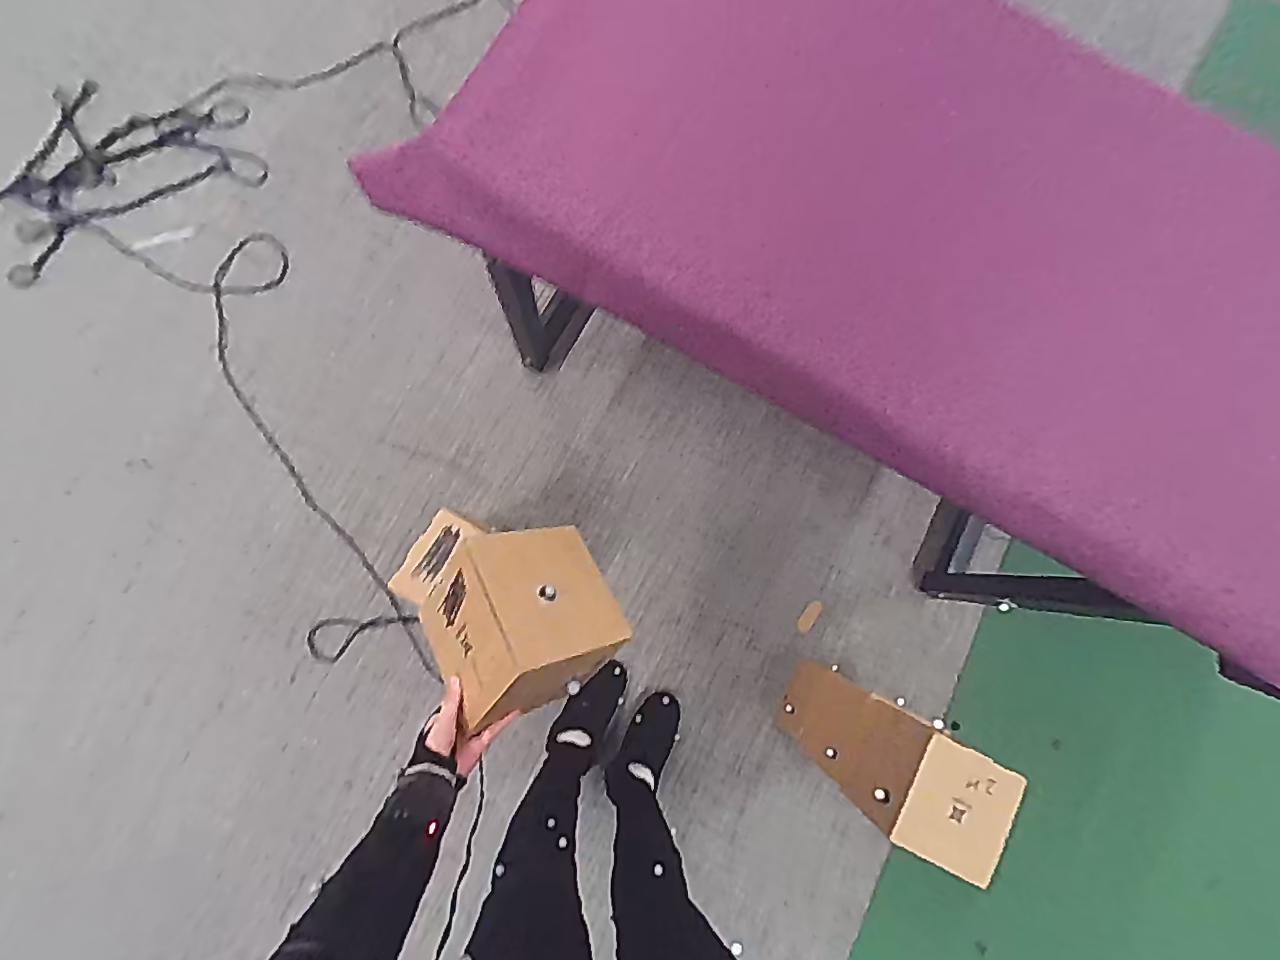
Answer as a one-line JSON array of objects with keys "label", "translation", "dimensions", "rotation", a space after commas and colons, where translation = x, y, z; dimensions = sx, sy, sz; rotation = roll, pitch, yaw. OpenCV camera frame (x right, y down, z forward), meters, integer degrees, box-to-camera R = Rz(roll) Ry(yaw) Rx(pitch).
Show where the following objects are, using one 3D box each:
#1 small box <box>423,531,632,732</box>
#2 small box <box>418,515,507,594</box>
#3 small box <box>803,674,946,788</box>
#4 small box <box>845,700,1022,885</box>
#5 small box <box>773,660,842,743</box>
[{"label": "small box", "translation": [-0.143, 0.177, 0.681], "dimensions": [0.176, 0.168, 0.179], "rotation": [-4, 52, -45]}, {"label": "small box", "translation": [-0.345, 0.196, 1.189], "dimensions": [0.168, 0.176, 0.179], "rotation": [32, 81, 0]}, {"label": "small box", "translation": [0.443, 0.503, 1.052], "dimensions": [0.168, 0.176, 0.179], "rotation": [27, 82, -1]}, {"label": "small box", "translation": [0.465, 0.496, 0.888], "dimensions": [0.168, 0.176, 0.179], "rotation": [28, 81, -1]}, {"label": "small box", "translation": [0.425, 0.521, 1.211], "dimensions": [0.179, 0.176, 0.168], "rotation": [30, 81, -1]}]
